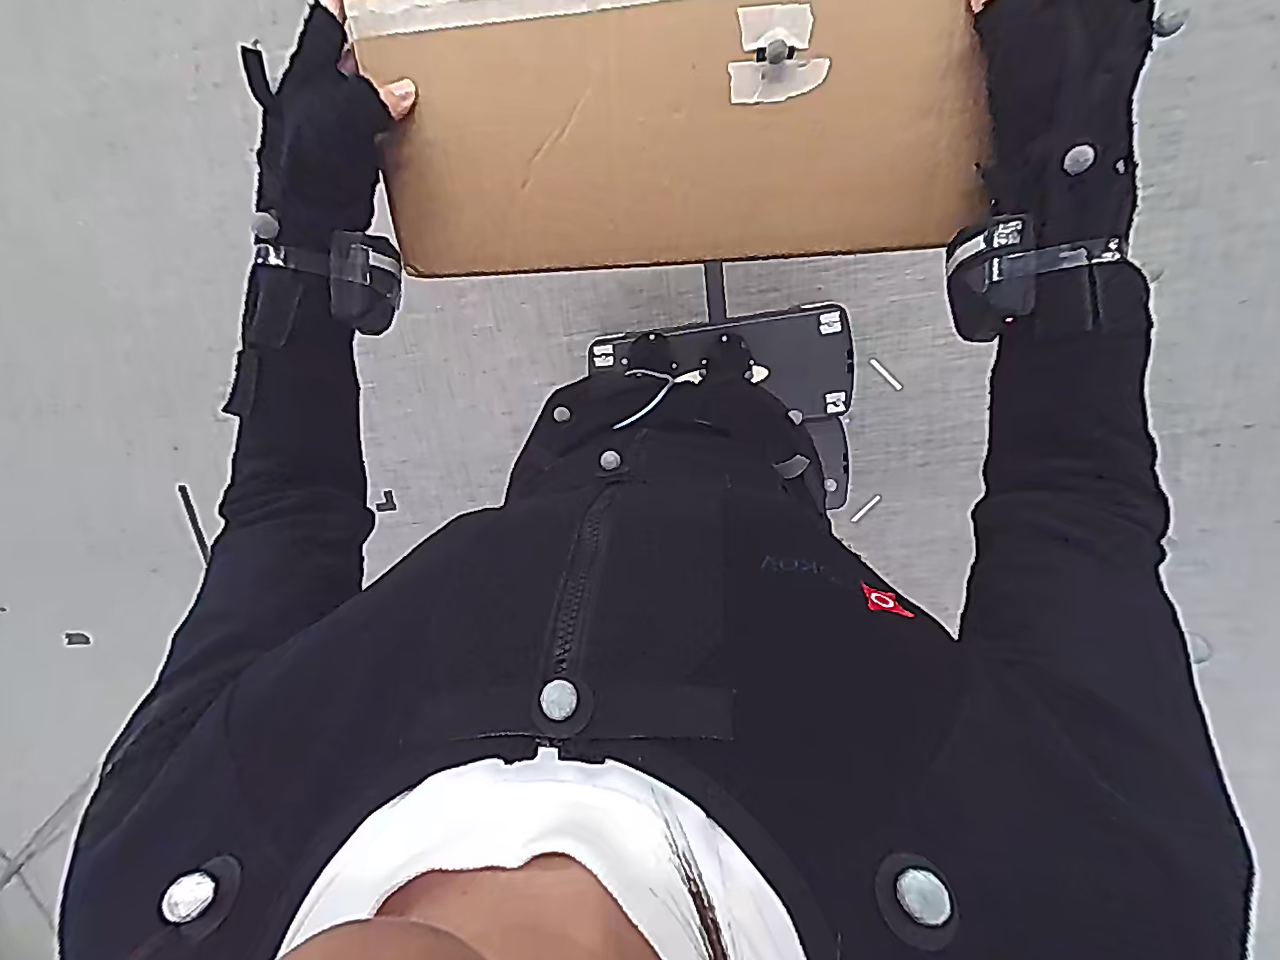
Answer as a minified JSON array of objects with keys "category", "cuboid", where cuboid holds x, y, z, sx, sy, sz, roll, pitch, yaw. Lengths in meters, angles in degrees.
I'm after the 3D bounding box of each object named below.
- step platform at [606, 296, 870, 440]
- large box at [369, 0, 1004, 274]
[{"category":"step platform","cuboid":[0.250,-0.296,1.454,0.684,0.204,0.286,-7,106,8]},{"category":"large box","cuboid":[0.033,-0.363,0.470,0.408,0.320,0.320,0,114,8]}]
